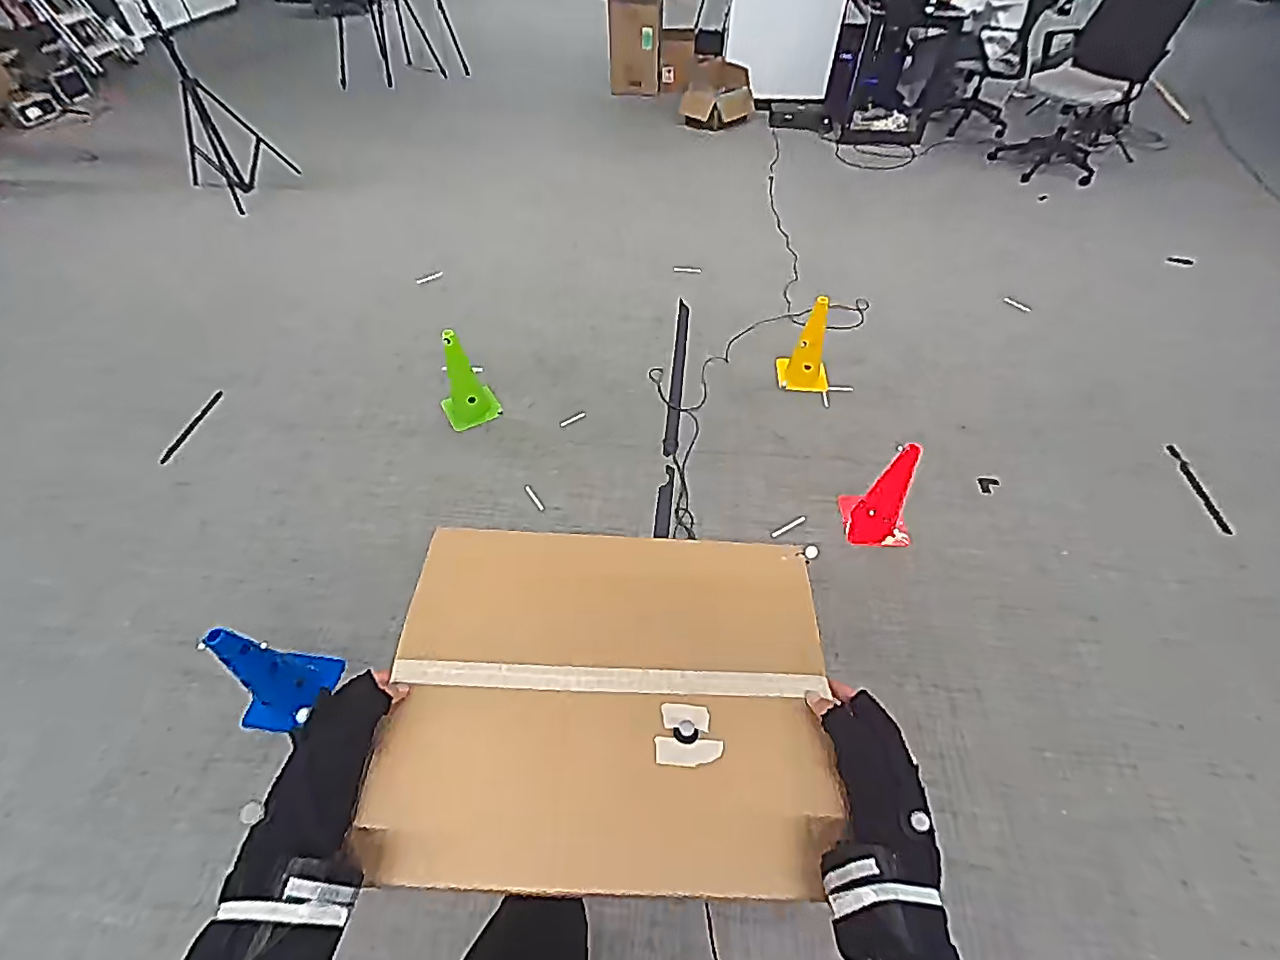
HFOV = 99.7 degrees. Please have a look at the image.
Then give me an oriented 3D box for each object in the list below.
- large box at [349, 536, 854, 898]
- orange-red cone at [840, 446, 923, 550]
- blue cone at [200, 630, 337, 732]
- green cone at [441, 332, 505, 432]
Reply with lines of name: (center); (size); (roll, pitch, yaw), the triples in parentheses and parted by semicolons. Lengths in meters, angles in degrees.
large box: (-0.035, 0.284, 0.626); (0.408, 0.320, 0.320); (4, 52, -2)
orange-red cone: (0.775, 0.030, 1.658); (0.198, 0.360, 0.199); (3, 49, 1)
blue cone: (-0.928, 0.463, 1.318); (0.192, 0.380, 0.193); (6, 50, 7)
green cone: (-0.661, -0.393, 2.009); (0.202, 0.368, 0.200); (-26, 54, -18)
